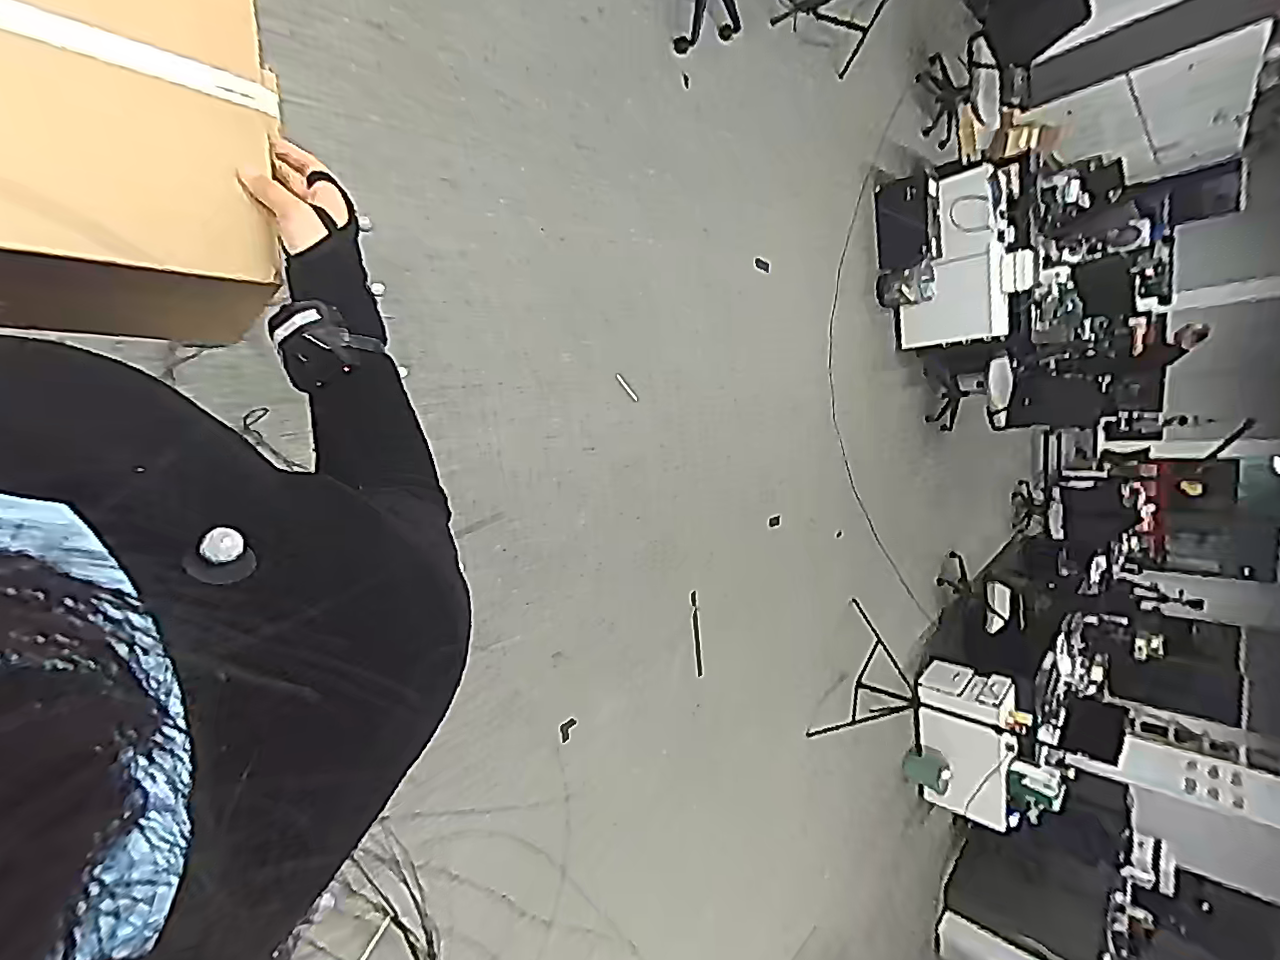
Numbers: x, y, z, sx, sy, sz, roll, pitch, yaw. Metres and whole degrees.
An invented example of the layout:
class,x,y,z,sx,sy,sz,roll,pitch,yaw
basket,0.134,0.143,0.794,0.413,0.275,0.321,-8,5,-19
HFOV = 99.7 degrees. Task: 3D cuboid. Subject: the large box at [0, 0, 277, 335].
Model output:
class,x,y,z,sx,sy,sz,roll,pitch,yaw
large box,-0.582,-0.315,0.456,0.408,0.320,0.320,-6,94,-42
